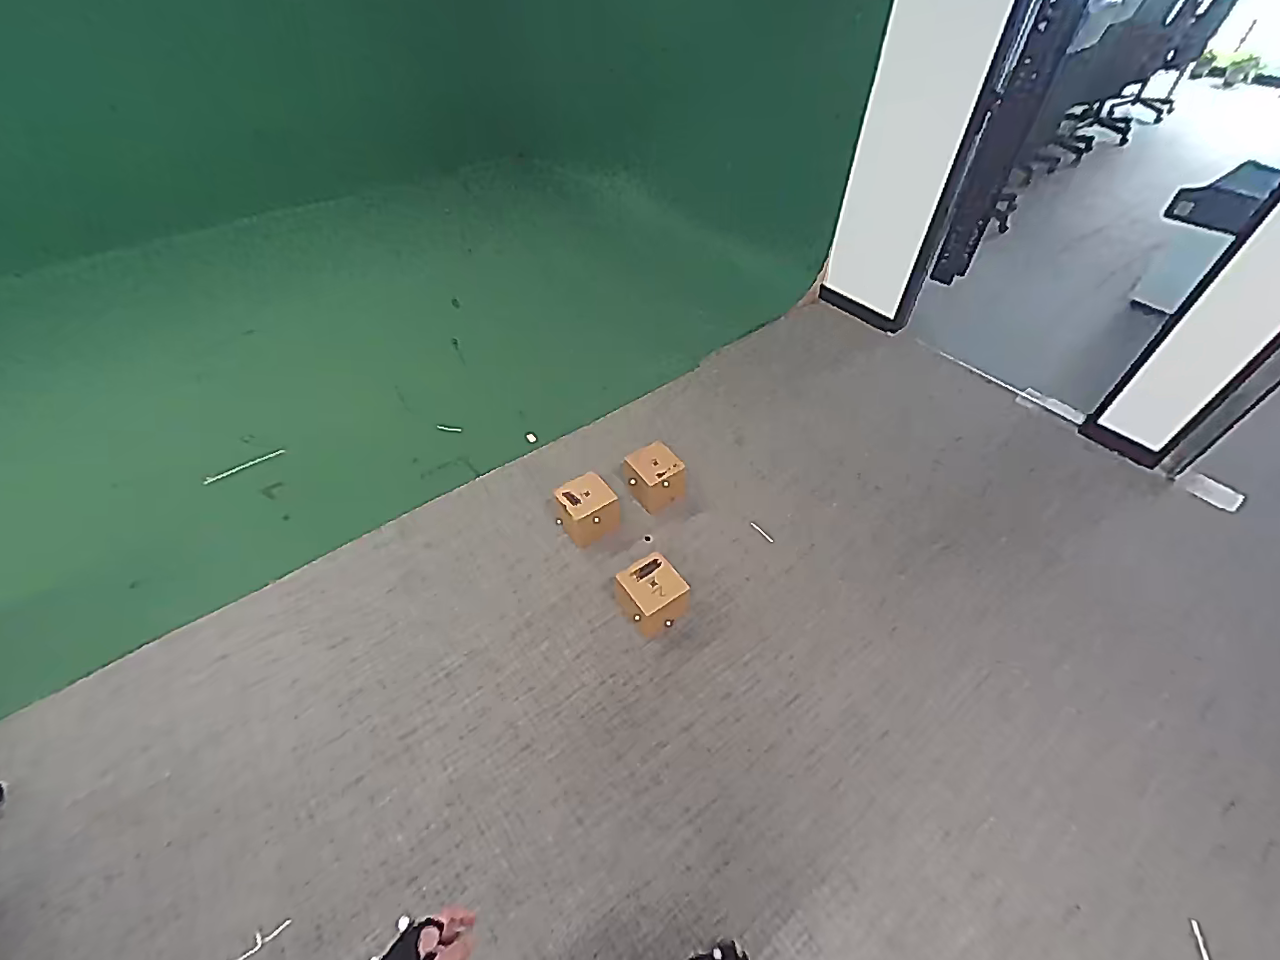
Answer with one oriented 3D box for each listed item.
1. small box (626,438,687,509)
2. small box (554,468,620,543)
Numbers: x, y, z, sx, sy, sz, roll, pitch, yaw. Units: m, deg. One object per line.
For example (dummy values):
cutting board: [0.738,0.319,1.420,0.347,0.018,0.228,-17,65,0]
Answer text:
small box: [0.060,-0.022,2.037,0.168,0.176,0.179,-28,53,-21]
small box: [-0.186,0.095,1.939,0.179,0.176,0.168,-29,55,-22]
